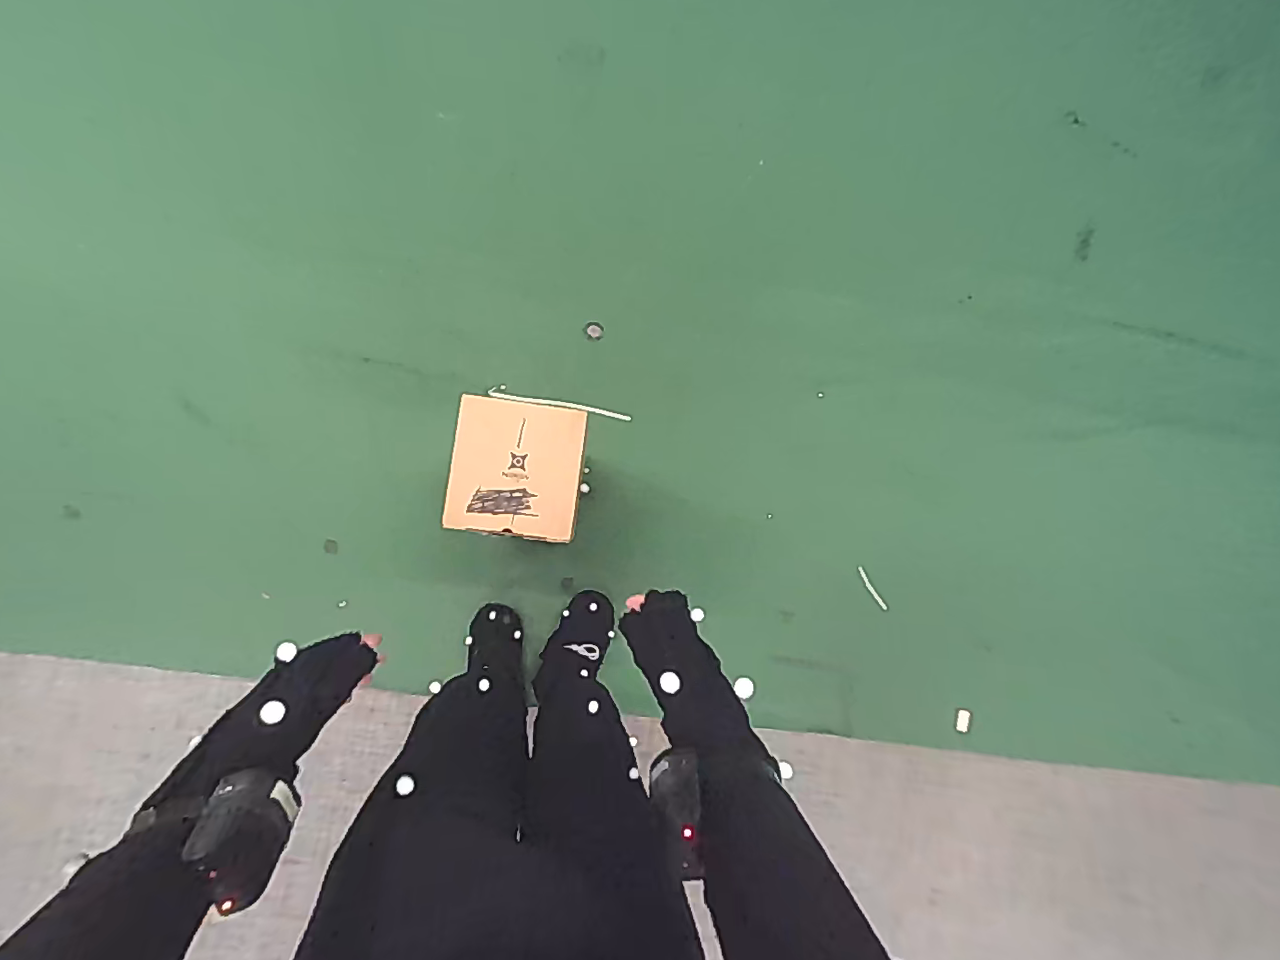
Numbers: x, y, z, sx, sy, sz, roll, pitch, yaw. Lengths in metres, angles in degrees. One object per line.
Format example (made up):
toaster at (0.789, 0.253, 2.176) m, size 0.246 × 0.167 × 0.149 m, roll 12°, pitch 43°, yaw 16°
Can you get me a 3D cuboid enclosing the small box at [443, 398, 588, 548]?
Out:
small box at (-0.166, -0.003, 0.775) m, size 0.168 × 0.176 × 0.179 m, roll 8°, pitch 85°, yaw -5°
